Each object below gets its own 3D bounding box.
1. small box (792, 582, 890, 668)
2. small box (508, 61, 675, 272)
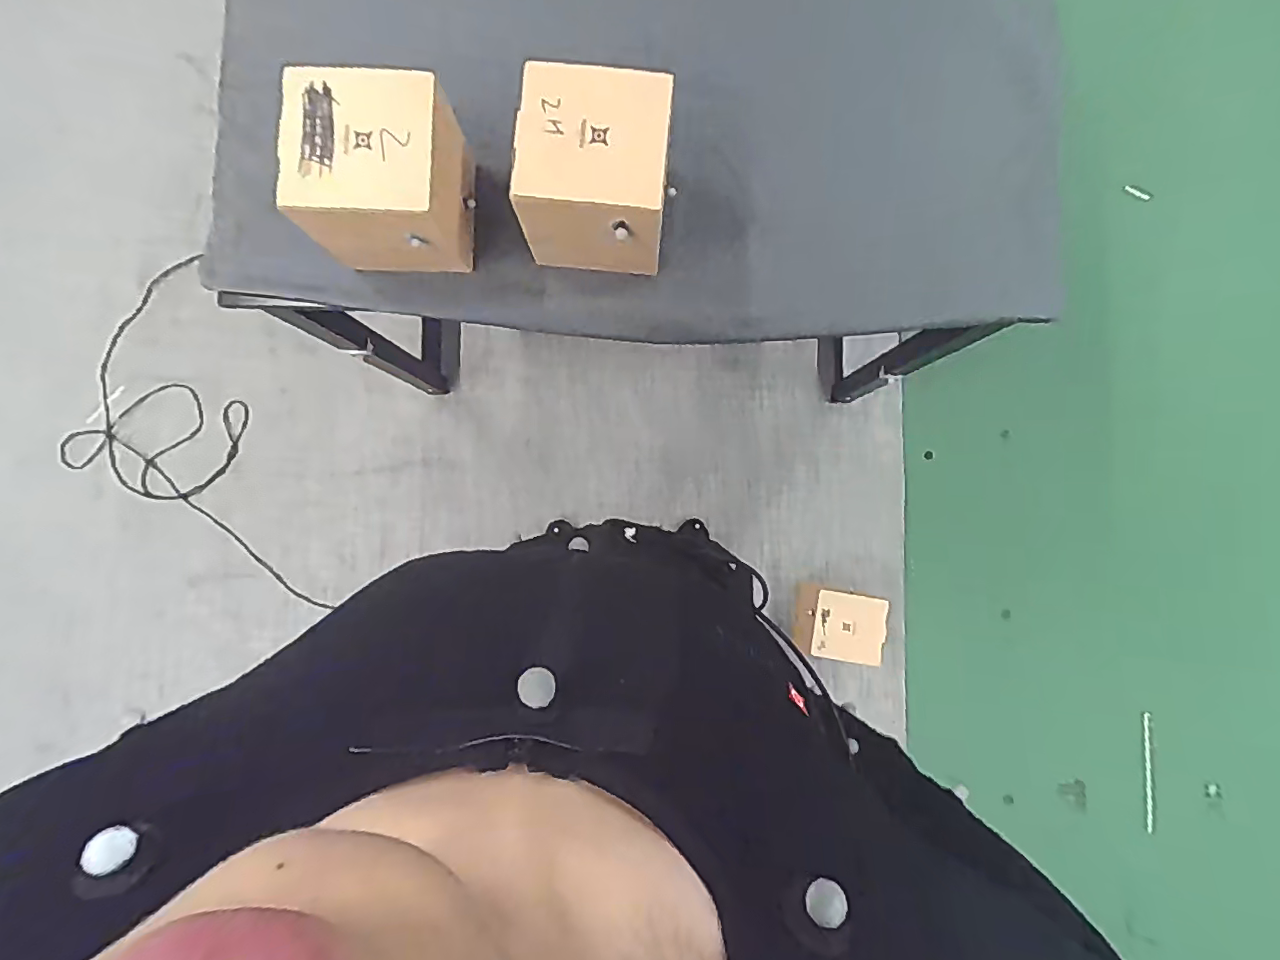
[{"bbox_3d":[0.511,0.366,1.395,0.179,0.176,0.168,10,89,0],"label":"small box"},{"bbox_3d":[-0.054,-0.385,0.694,0.179,0.176,0.168,6,86,1],"label":"small box"}]
